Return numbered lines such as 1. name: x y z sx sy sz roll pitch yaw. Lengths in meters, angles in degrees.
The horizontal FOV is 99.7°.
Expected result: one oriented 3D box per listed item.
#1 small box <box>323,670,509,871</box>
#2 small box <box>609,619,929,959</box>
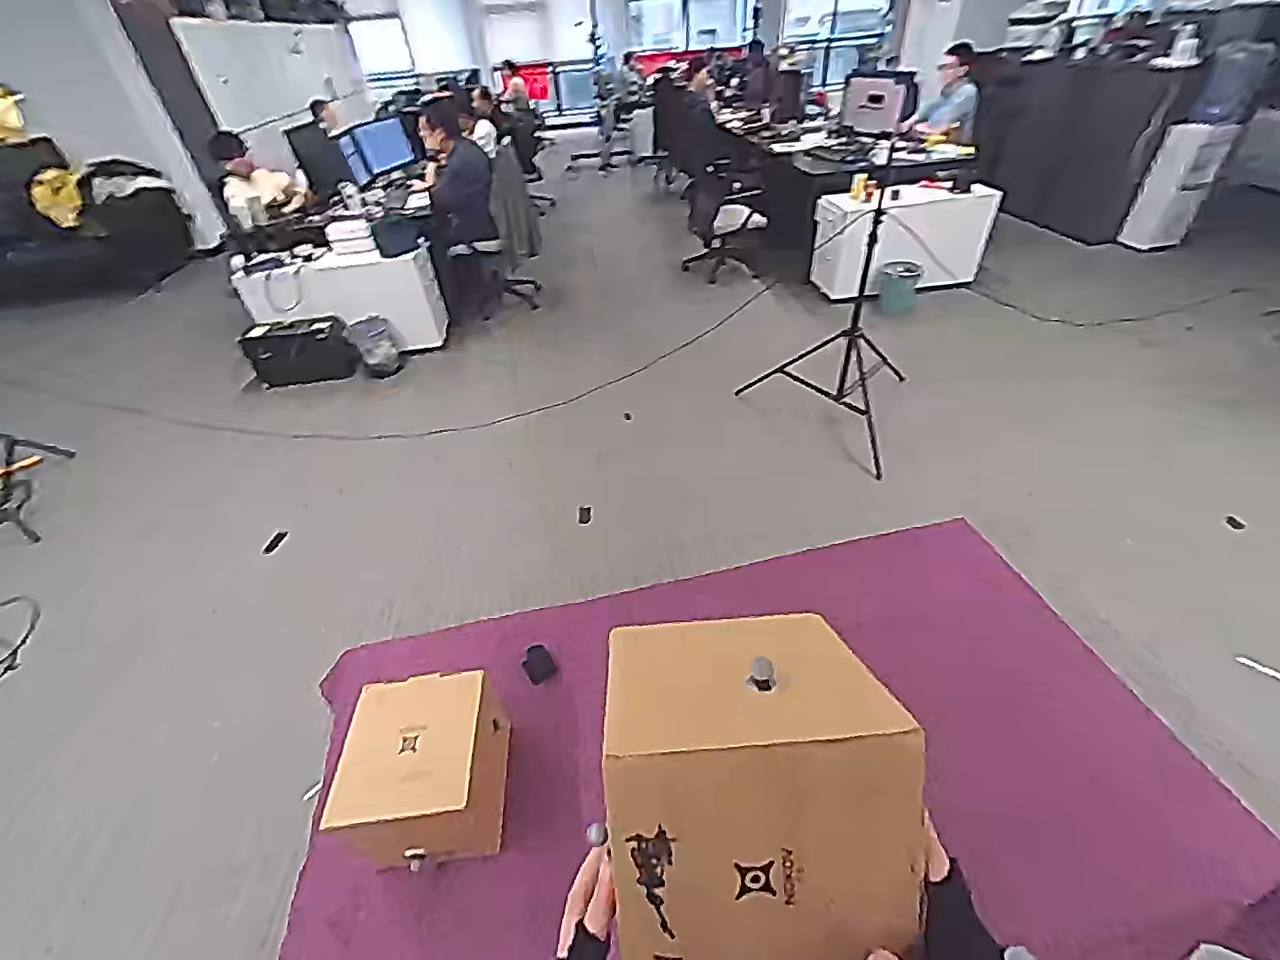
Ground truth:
1. small box: -0.277 0.384 0.719 0.168 0.176 0.179 -8 41 -2
2. small box: 0.070 0.207 0.377 0.179 0.168 0.176 -4 7 -2
